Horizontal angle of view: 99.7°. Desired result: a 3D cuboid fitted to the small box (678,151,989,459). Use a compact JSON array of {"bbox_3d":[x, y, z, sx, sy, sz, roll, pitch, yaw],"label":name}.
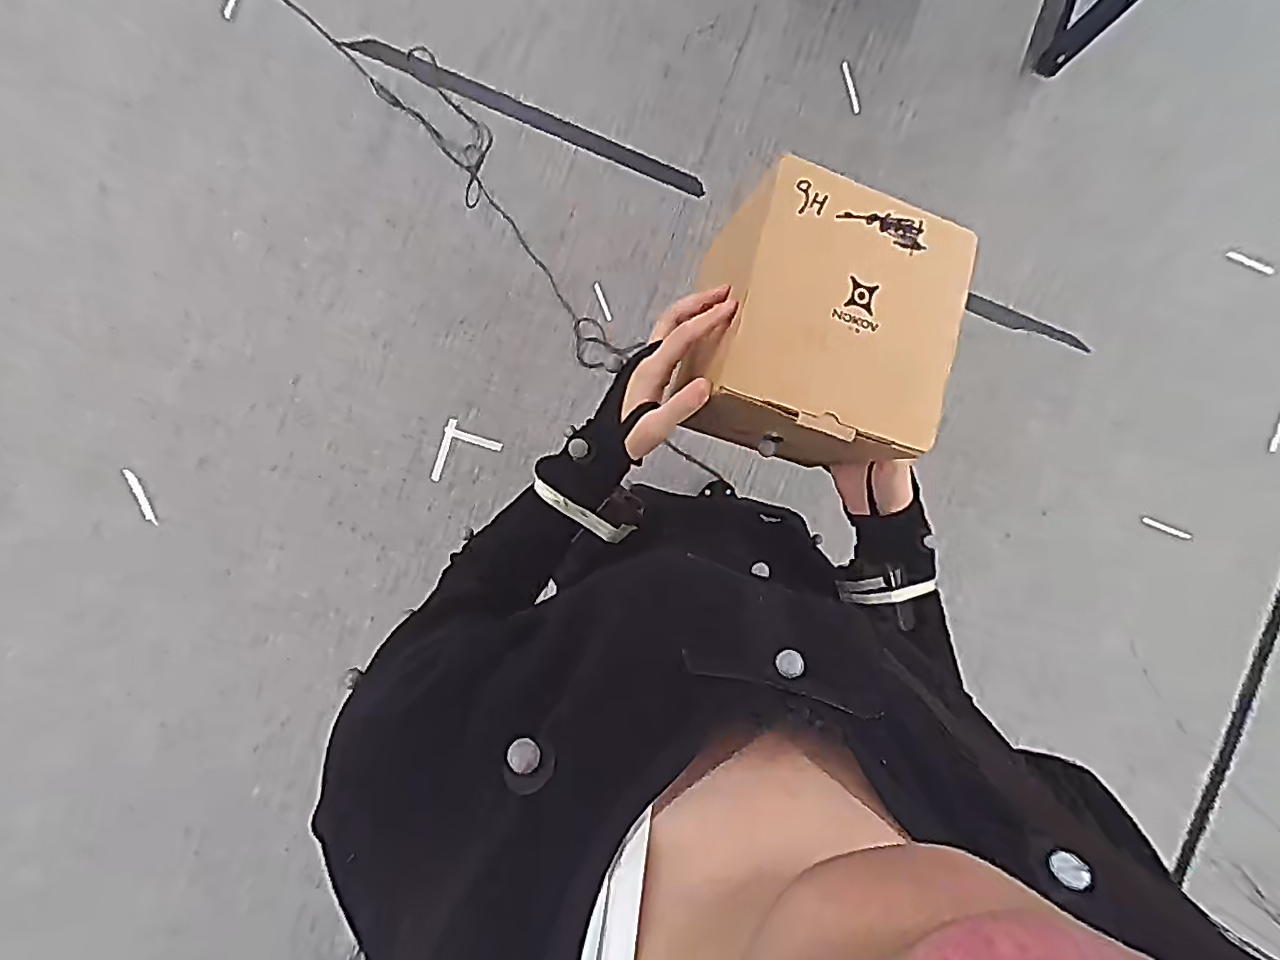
[{"bbox_3d":[0.142,-0.121,0.457,0.168,0.176,0.179,16,87,-11],"label":"small box"}]
